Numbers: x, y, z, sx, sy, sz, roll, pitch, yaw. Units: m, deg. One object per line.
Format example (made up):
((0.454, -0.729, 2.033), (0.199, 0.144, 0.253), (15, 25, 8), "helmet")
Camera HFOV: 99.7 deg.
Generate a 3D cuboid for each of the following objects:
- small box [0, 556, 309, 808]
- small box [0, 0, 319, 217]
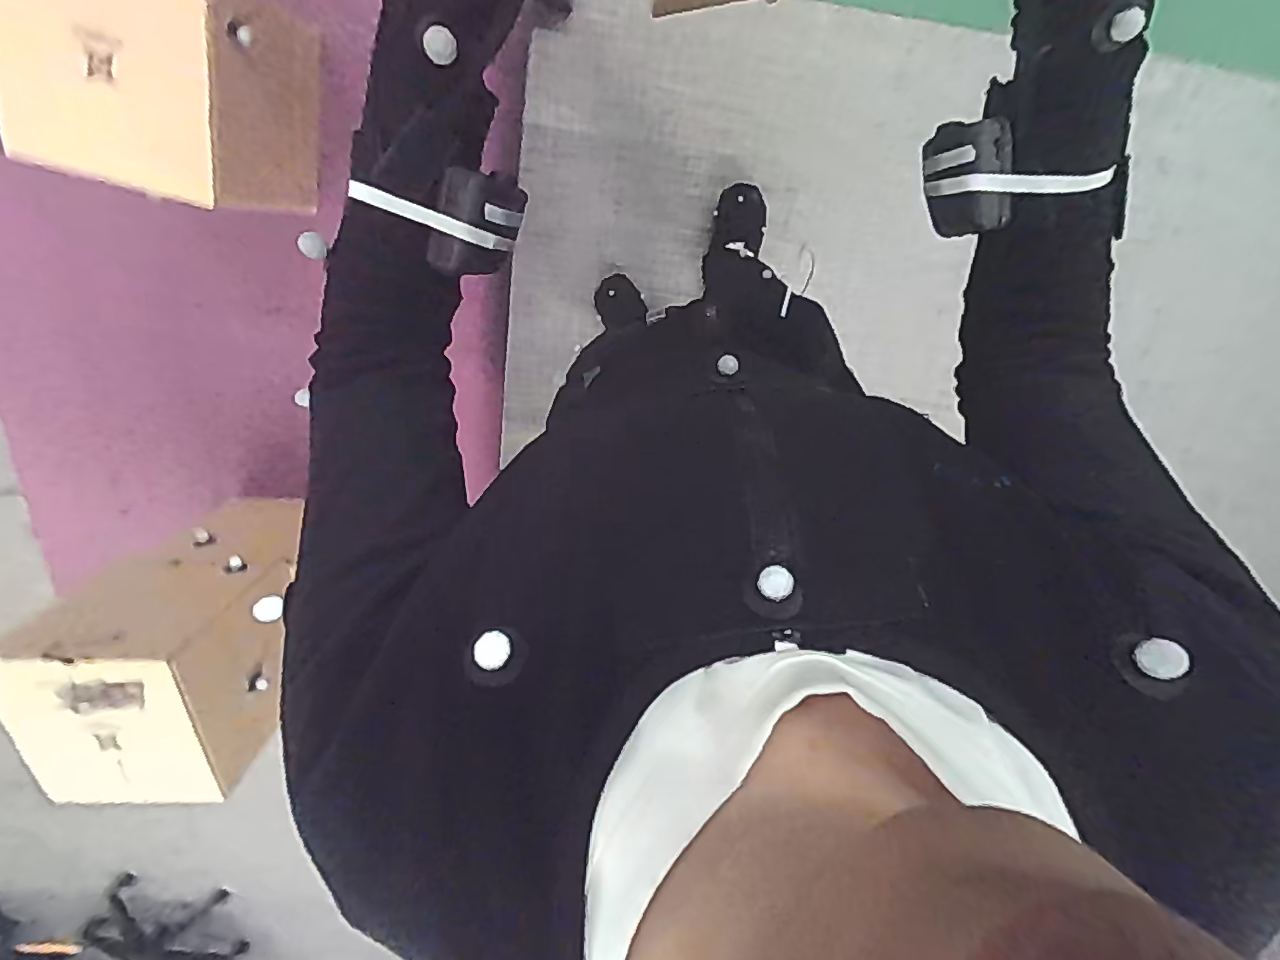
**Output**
((-0.475, 0.194, 0.551), (0.168, 0.176, 0.179), (4, 113, 0), "small box")
((-0.423, -0.357, 0.500), (0.168, 0.176, 0.179), (13, 112, -6), "small box")
